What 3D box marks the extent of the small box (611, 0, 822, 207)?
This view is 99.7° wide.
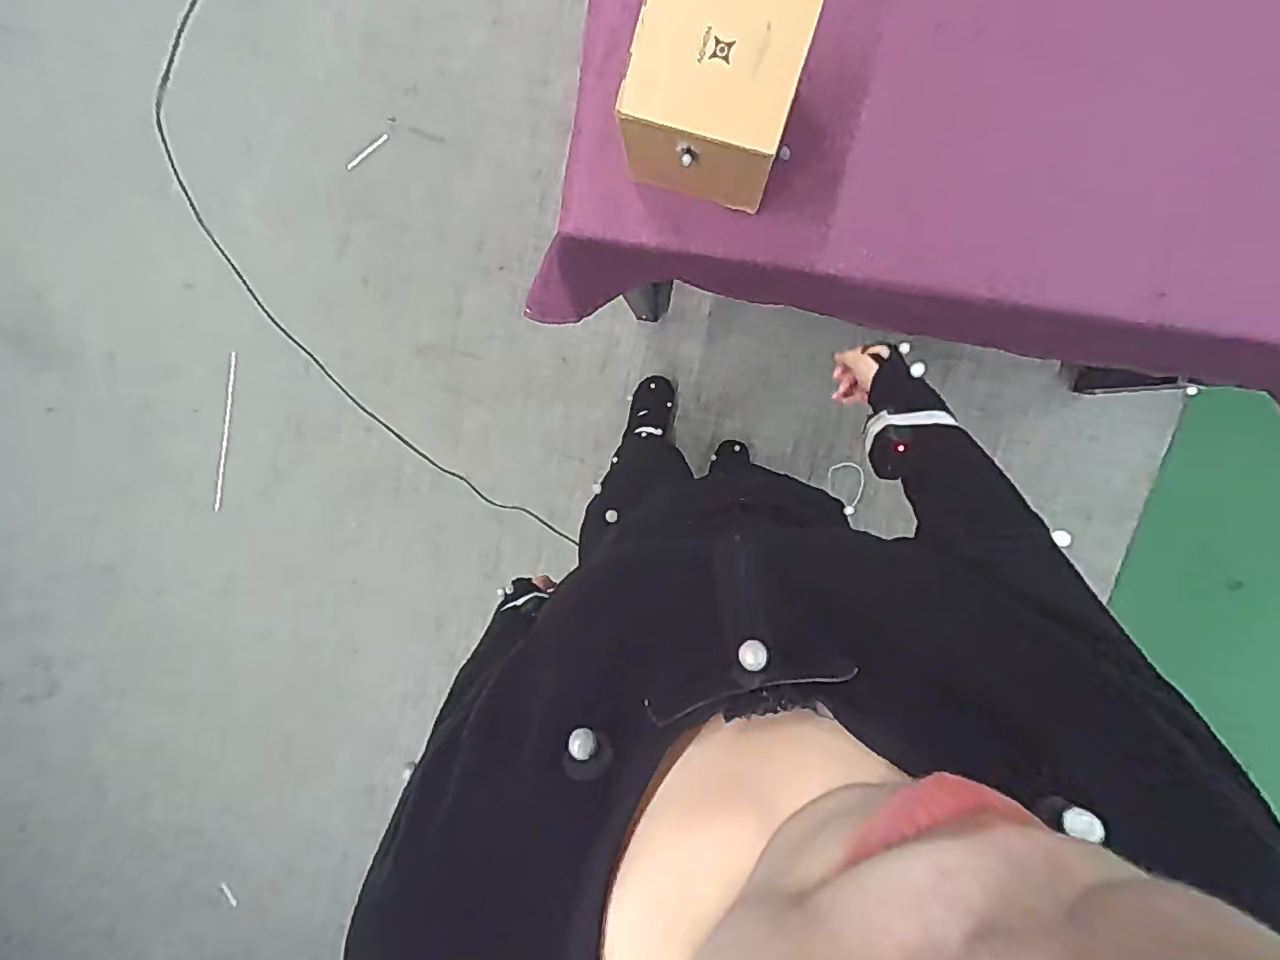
[{"bbox_3d":[0.084,-0.443,0.624,0.179,0.176,0.168,18,99,3],"label":"small box"}]

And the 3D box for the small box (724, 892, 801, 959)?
[{"bbox_3d":[0.340,1.331,1.545,0.179,0.176,0.168,12,99,5],"label":"small box"}]
